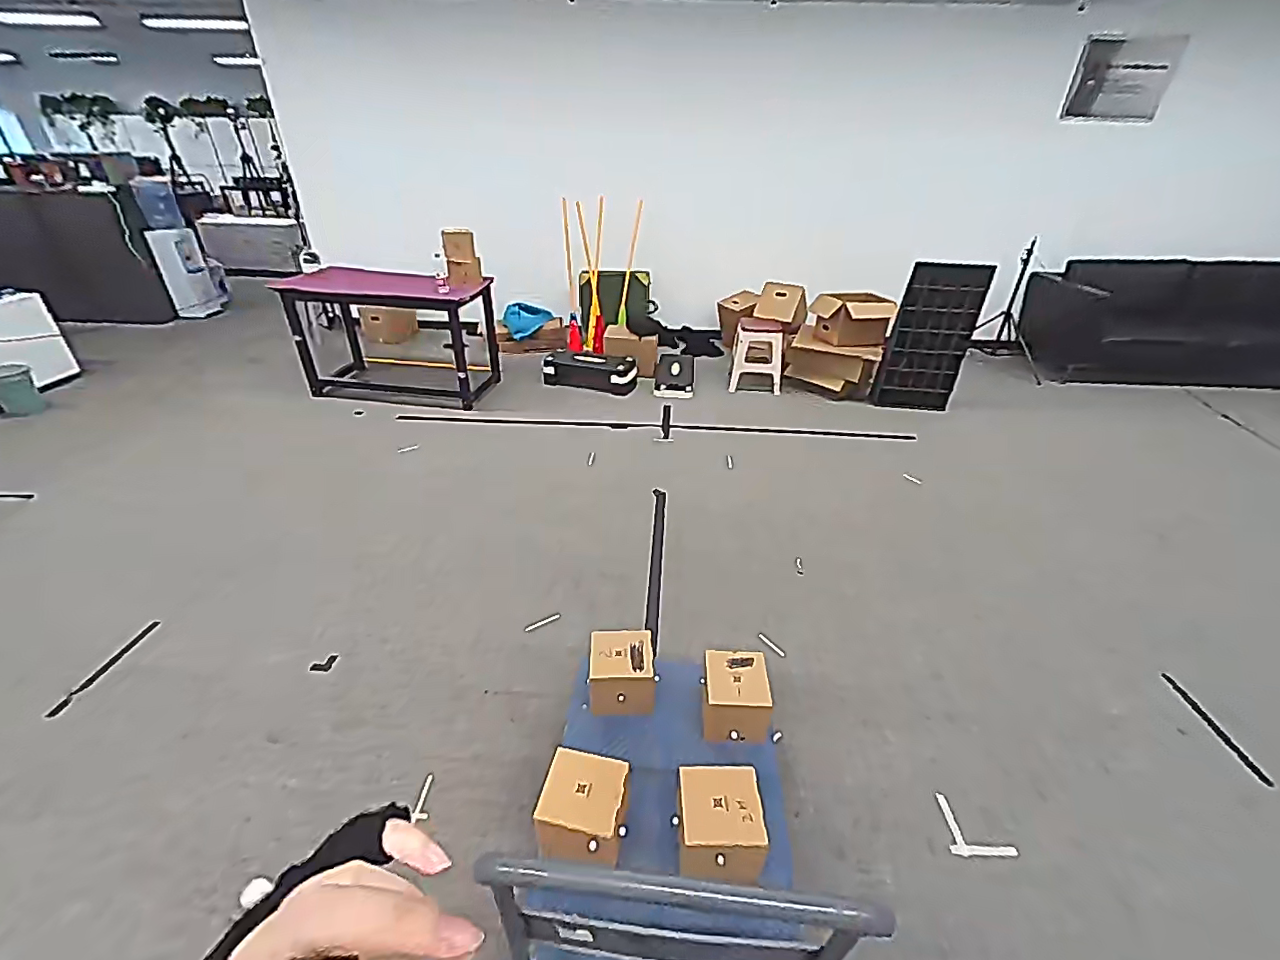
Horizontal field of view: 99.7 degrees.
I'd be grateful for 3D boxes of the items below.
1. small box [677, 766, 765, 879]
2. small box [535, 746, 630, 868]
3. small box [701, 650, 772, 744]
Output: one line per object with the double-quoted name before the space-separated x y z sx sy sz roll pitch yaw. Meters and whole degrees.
"small box" 0.174 0.775 1.223 0.179 0.176 0.168 1 32 0
"small box" -0.128 0.753 1.244 0.179 0.176 0.168 9 32 9
"small box" 0.261 0.601 1.502 0.168 0.176 0.179 2 33 2
